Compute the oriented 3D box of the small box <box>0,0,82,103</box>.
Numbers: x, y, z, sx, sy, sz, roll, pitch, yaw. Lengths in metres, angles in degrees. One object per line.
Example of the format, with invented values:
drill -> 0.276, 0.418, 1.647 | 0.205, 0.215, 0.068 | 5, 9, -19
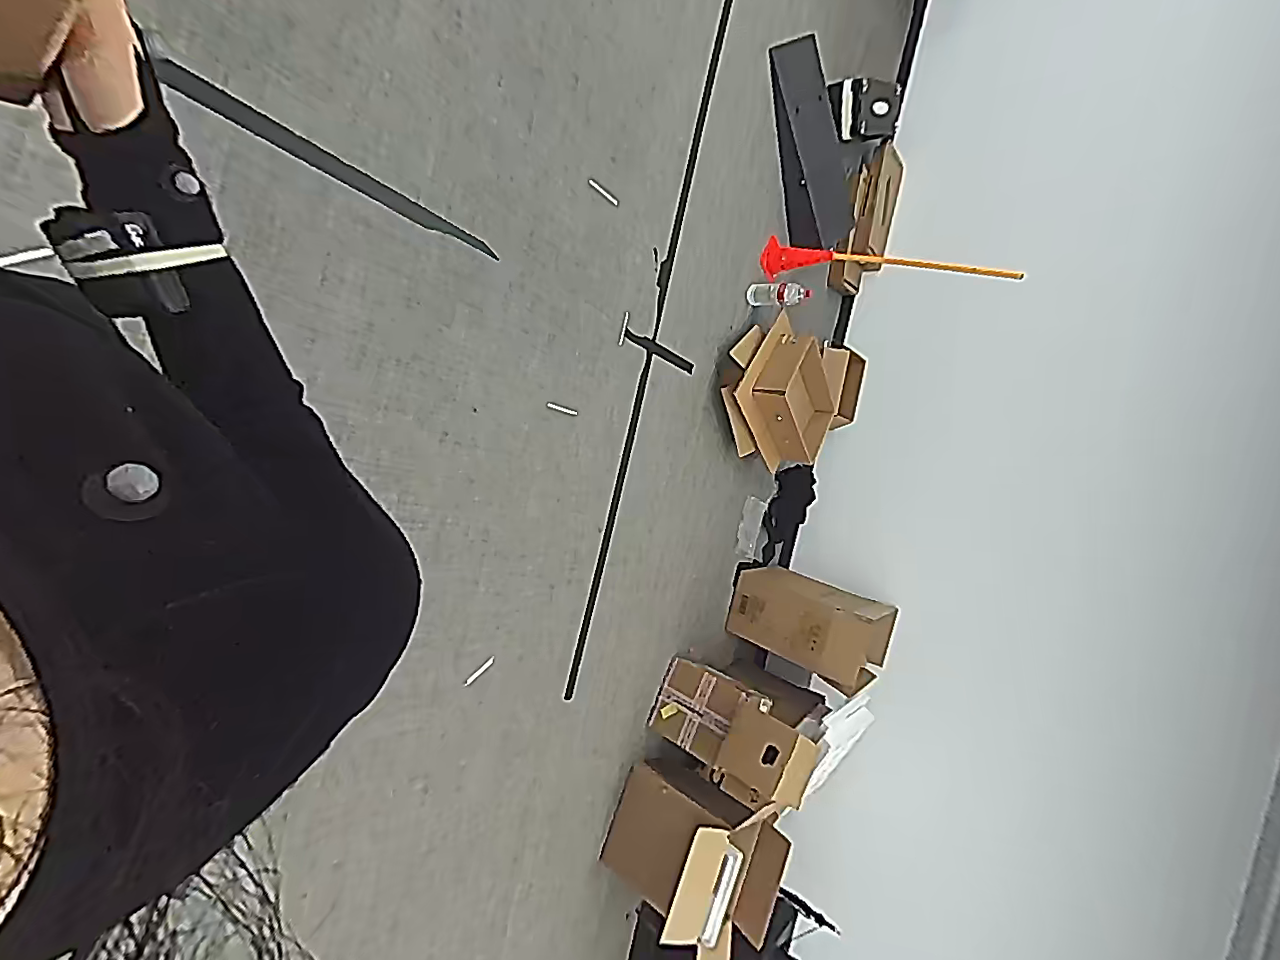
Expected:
small box -> -0.354, -0.289, 0.209 | 0.168, 0.176, 0.179 | -12, 105, -53
